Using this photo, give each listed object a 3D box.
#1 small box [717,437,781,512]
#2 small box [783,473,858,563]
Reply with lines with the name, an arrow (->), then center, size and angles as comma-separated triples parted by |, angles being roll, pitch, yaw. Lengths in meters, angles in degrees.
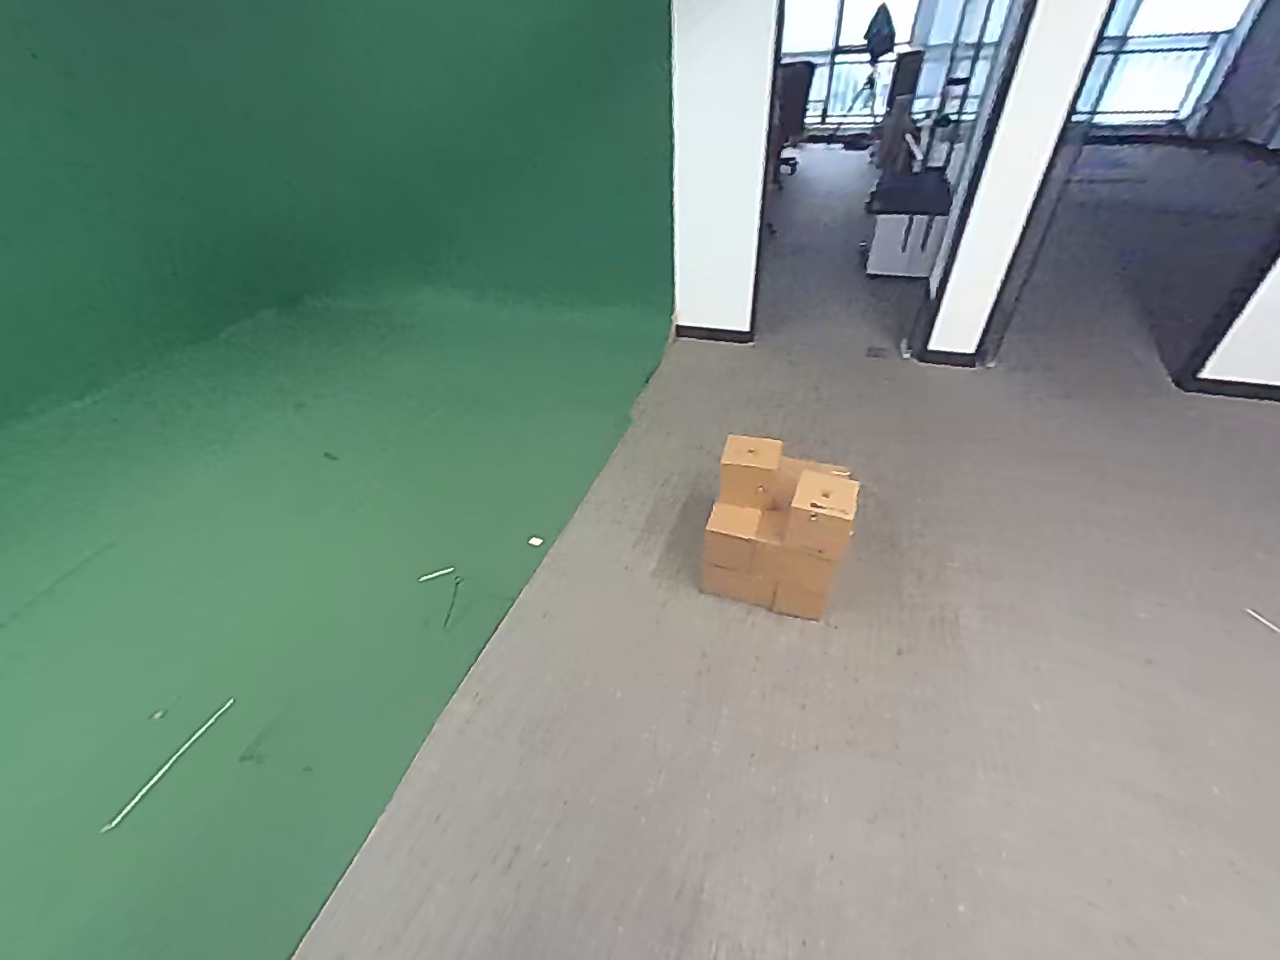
small box -> 0.353, -0.016, 1.753 | 0.179, 0.176, 0.168 | 8, 39, 15
small box -> 0.525, 0.110, 1.581 | 0.168, 0.176, 0.179 | 14, 41, 19
